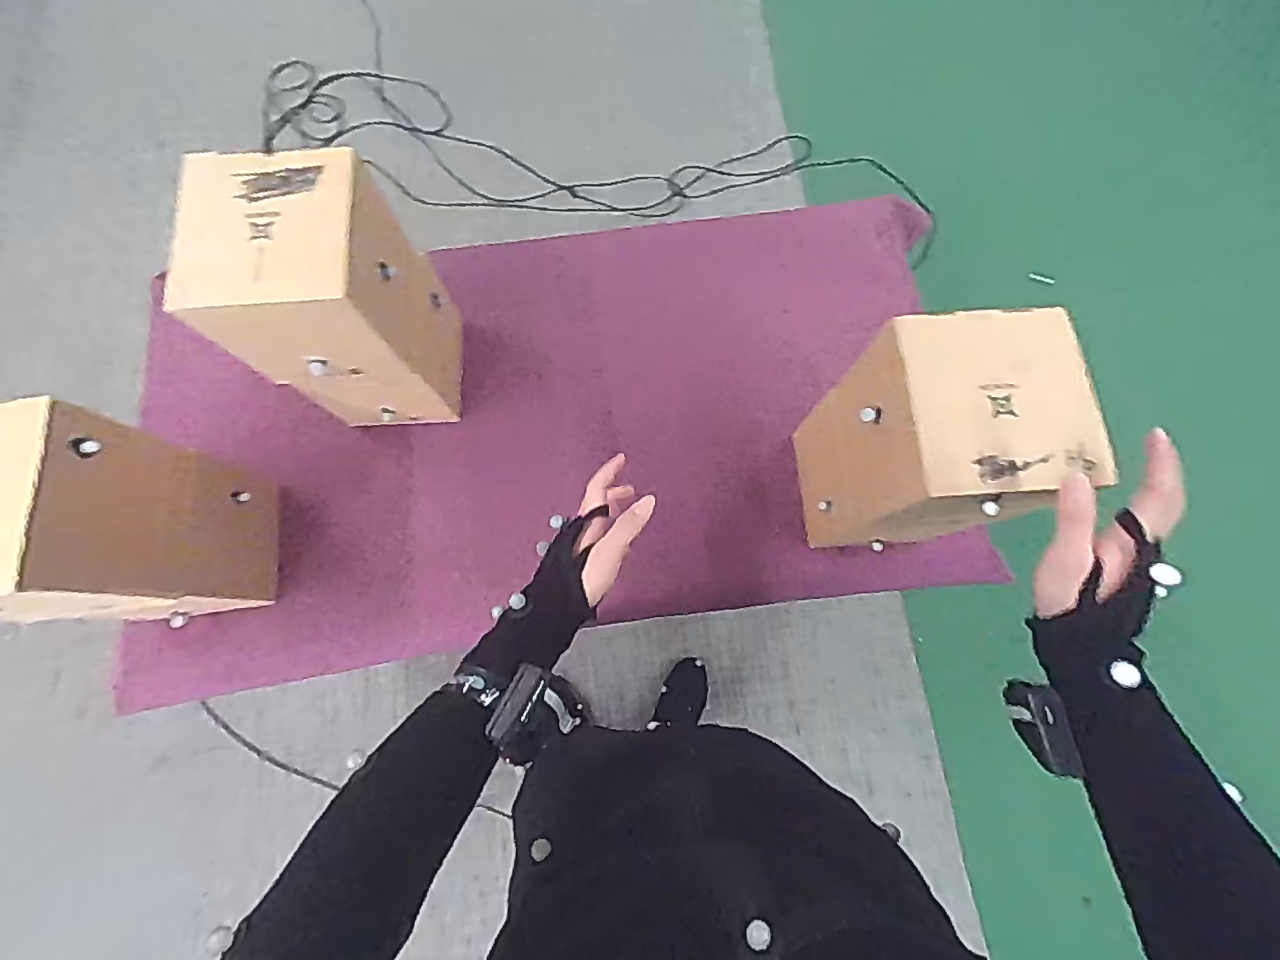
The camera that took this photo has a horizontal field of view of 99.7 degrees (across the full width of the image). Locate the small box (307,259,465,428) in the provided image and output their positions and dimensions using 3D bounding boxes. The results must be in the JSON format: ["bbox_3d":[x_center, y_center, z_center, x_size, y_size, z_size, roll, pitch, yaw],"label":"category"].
[{"bbox_3d":[-0.353,-0.184,0.760,0.168,0.176,0.179,-2,76,-1],"label":"small box"}]

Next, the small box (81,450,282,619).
[{"bbox_3d":[-0.589,0.077,0.687,0.168,0.176,0.179,-7,75,-2],"label":"small box"}]

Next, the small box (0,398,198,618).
[{"bbox_3d":[-0.582,0.040,0.529,0.168,0.176,0.179,-6,73,-2],"label":"small box"}]

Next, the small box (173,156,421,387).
[{"bbox_3d":[-0.356,-0.220,0.599,0.168,0.176,0.179,-4,76,-2],"label":"small box"}]

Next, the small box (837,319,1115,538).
[{"bbox_3d":[0.319,-0.043,0.558,0.168,0.176,0.179,-3,75,0],"label":"small box"}]
